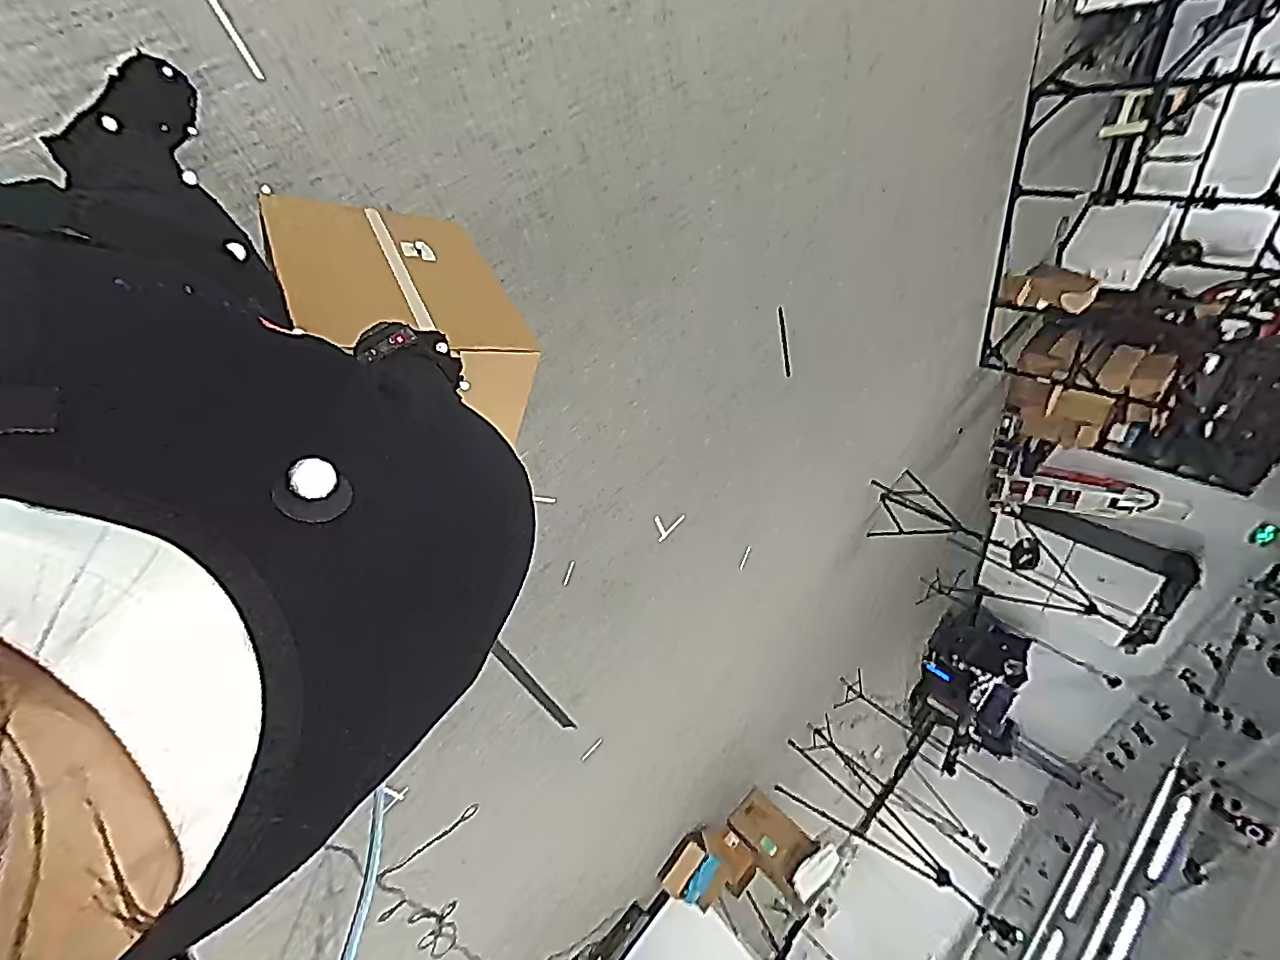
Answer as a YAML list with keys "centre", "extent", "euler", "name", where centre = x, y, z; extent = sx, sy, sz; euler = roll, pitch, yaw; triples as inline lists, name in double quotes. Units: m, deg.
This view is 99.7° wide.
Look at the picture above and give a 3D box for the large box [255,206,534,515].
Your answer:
- centre: [-0.428, -0.203, 0.918]
  extent: [0.320, 0.408, 0.320]
  euler: [-8, 139, -37]
  name: "large box"
